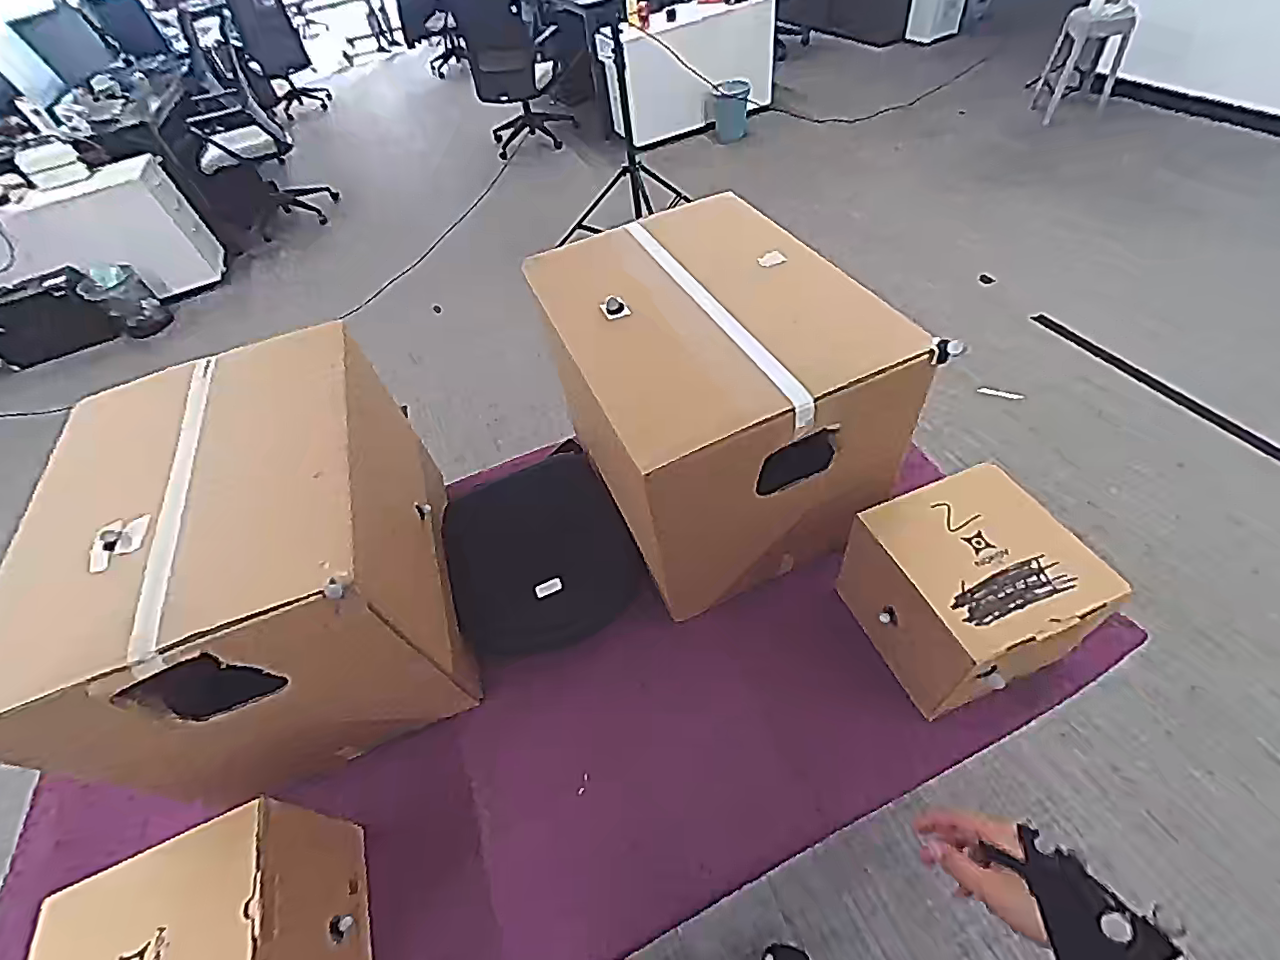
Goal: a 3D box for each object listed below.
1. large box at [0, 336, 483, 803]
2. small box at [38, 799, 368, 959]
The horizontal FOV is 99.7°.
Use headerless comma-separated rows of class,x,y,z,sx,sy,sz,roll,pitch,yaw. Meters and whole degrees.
large box,-0.423,0.100,0.657,0.320,0.320,0.408,-22,53,-7
small box,-0.369,0.420,0.474,0.179,0.176,0.168,-24,50,-10
